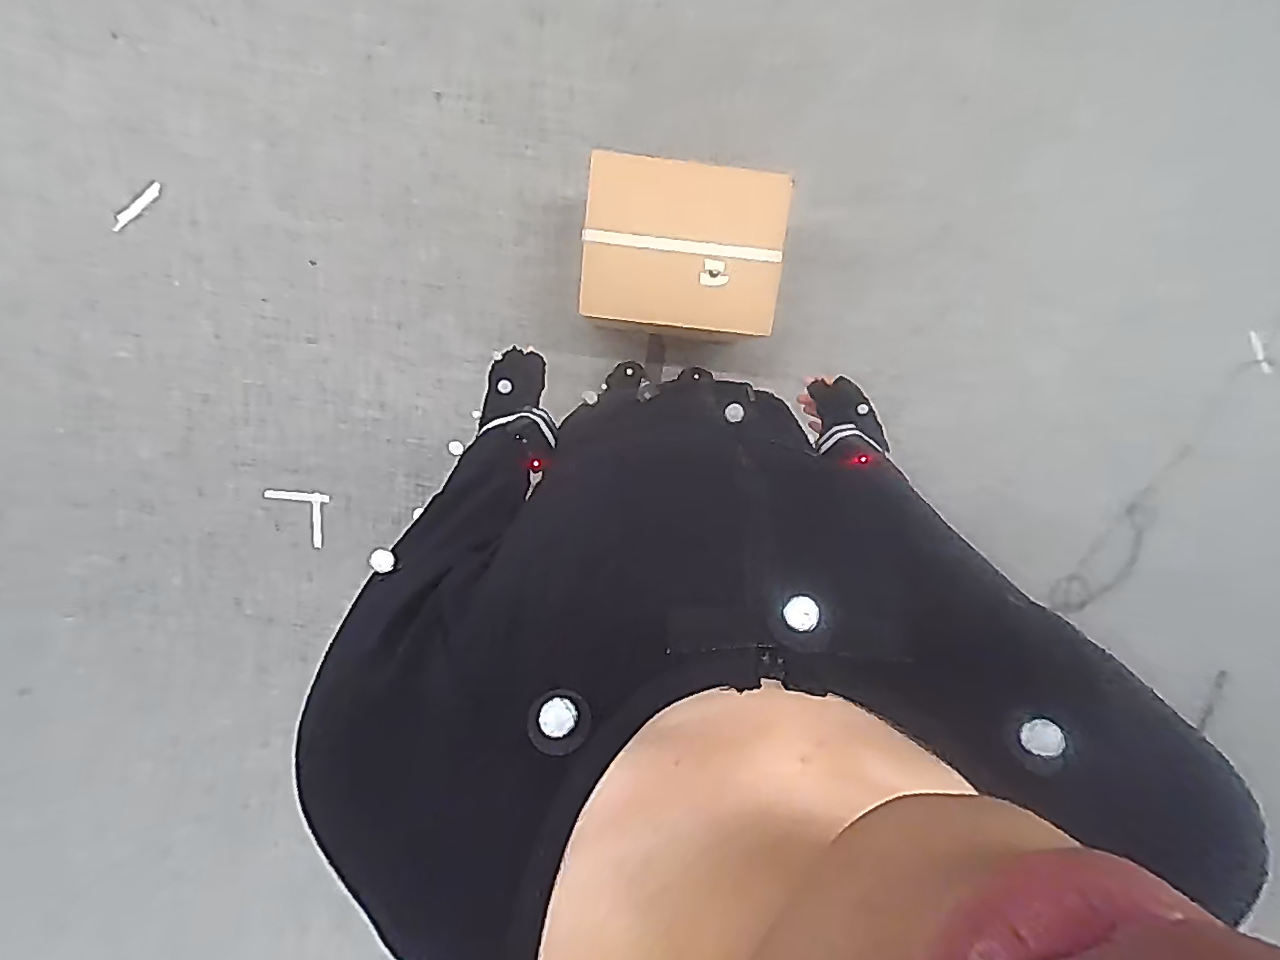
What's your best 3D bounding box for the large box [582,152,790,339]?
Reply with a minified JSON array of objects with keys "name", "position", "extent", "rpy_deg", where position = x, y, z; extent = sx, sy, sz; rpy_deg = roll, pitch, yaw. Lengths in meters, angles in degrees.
[{"name":"large box","position":[0.081,-0.504,1.237],"extent":[0.408,0.320,0.320],"rpy_deg":[5,102,-4]}]
